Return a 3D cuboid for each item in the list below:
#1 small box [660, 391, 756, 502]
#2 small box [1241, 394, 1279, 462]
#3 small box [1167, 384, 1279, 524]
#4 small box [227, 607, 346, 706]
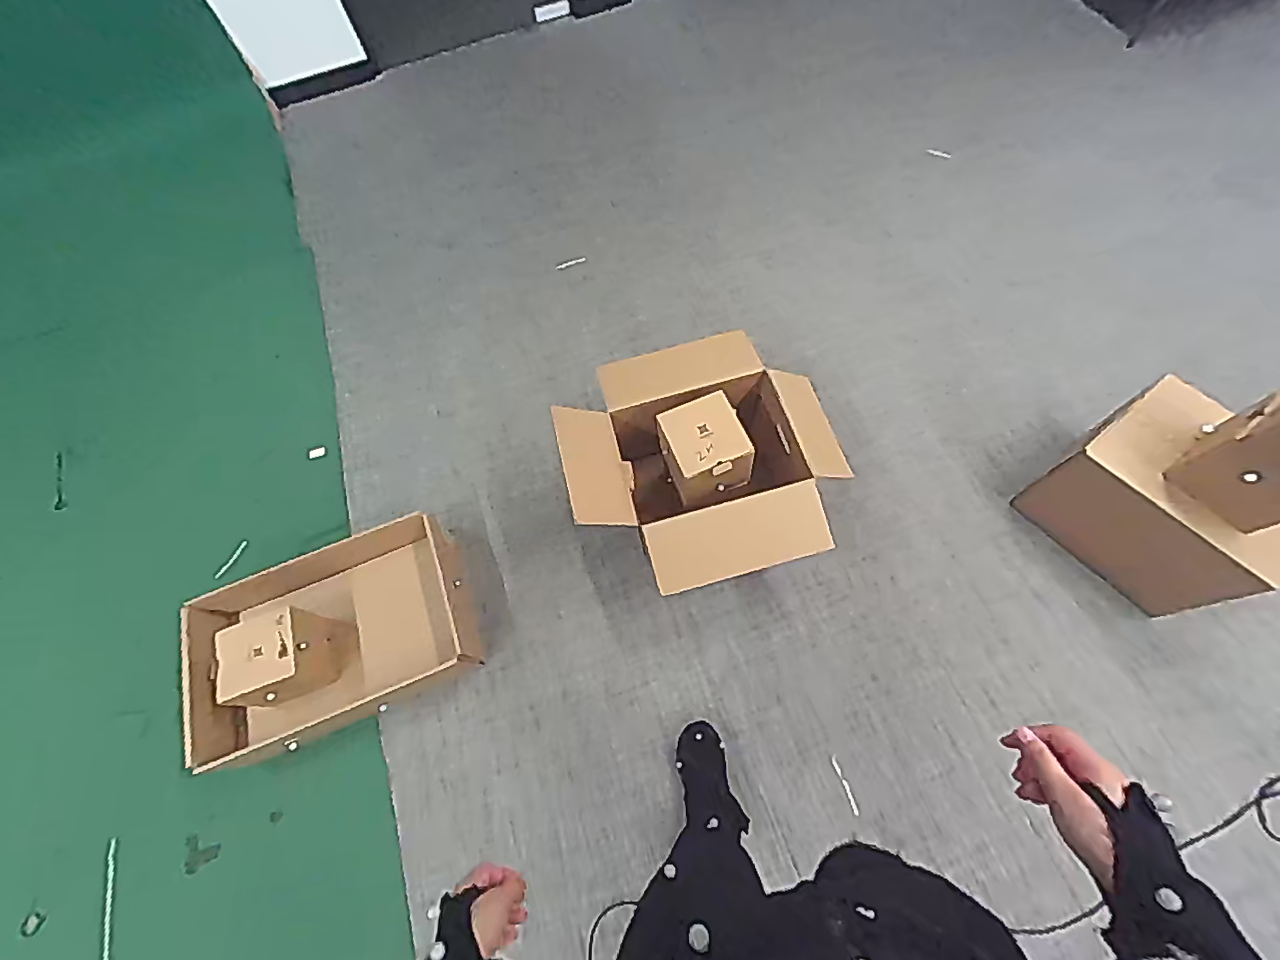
[{"bbox_3d":[0.159,-0.074,1.285,0.168,0.176,0.179,-23,65,-2],"label":"small box"},{"bbox_3d":[1.192,-0.099,0.892,0.168,0.176,0.179,-37,67,-9],"label":"small box"},{"bbox_3d":[1.201,-0.043,1.044,0.168,0.176,0.179,-37,68,-10],"label":"small box"},{"bbox_3d":[-0.845,0.429,1.298,0.179,0.176,0.168,-21,64,-5],"label":"small box"}]
